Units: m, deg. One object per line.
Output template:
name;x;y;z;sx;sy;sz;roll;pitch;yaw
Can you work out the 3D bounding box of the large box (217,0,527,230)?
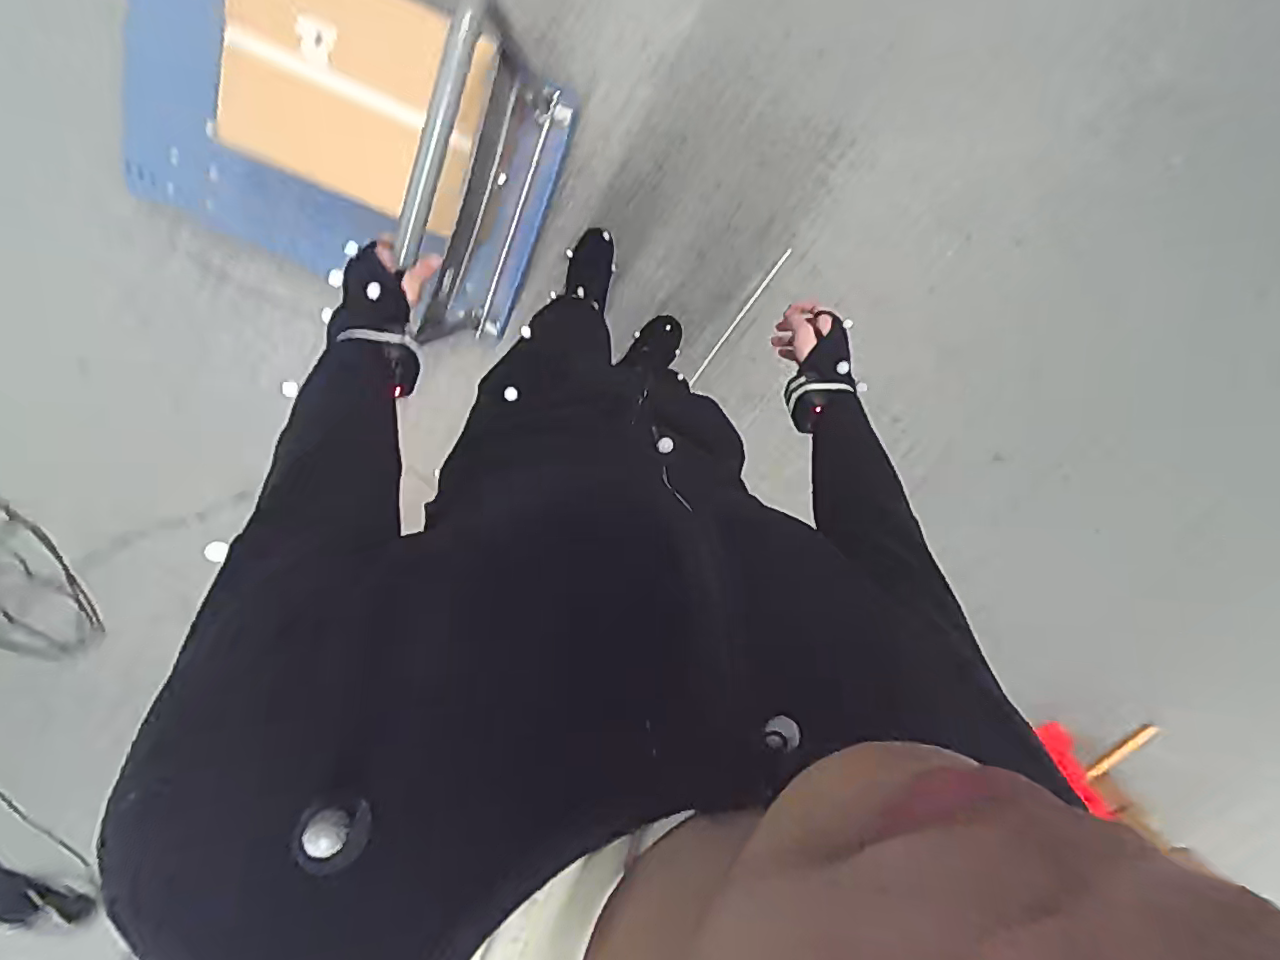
large box;-0.467;-0.703;1.017;0.408;0.320;0.320;21;111;-10
